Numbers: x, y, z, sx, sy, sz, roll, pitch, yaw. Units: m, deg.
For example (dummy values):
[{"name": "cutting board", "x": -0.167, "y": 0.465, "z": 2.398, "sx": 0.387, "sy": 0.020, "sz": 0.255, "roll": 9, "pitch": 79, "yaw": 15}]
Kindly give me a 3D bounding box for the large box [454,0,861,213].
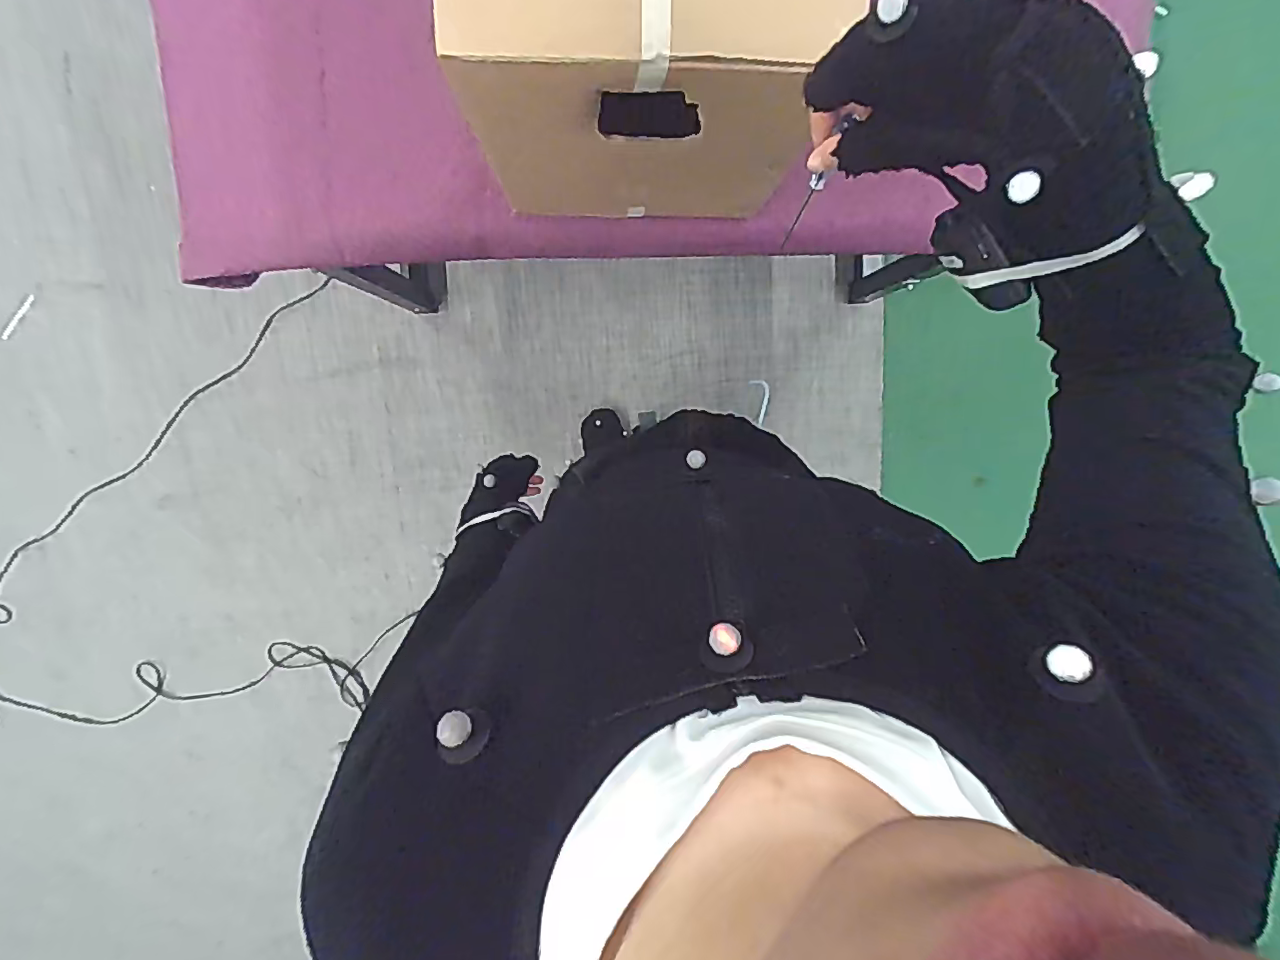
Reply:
[{"name": "large box", "x": 0.006, "y": -0.526, "z": 0.528, "sx": 0.320, "sy": 0.320, "sz": 0.408, "roll": 0, "pitch": 98, "yaw": -3}]
